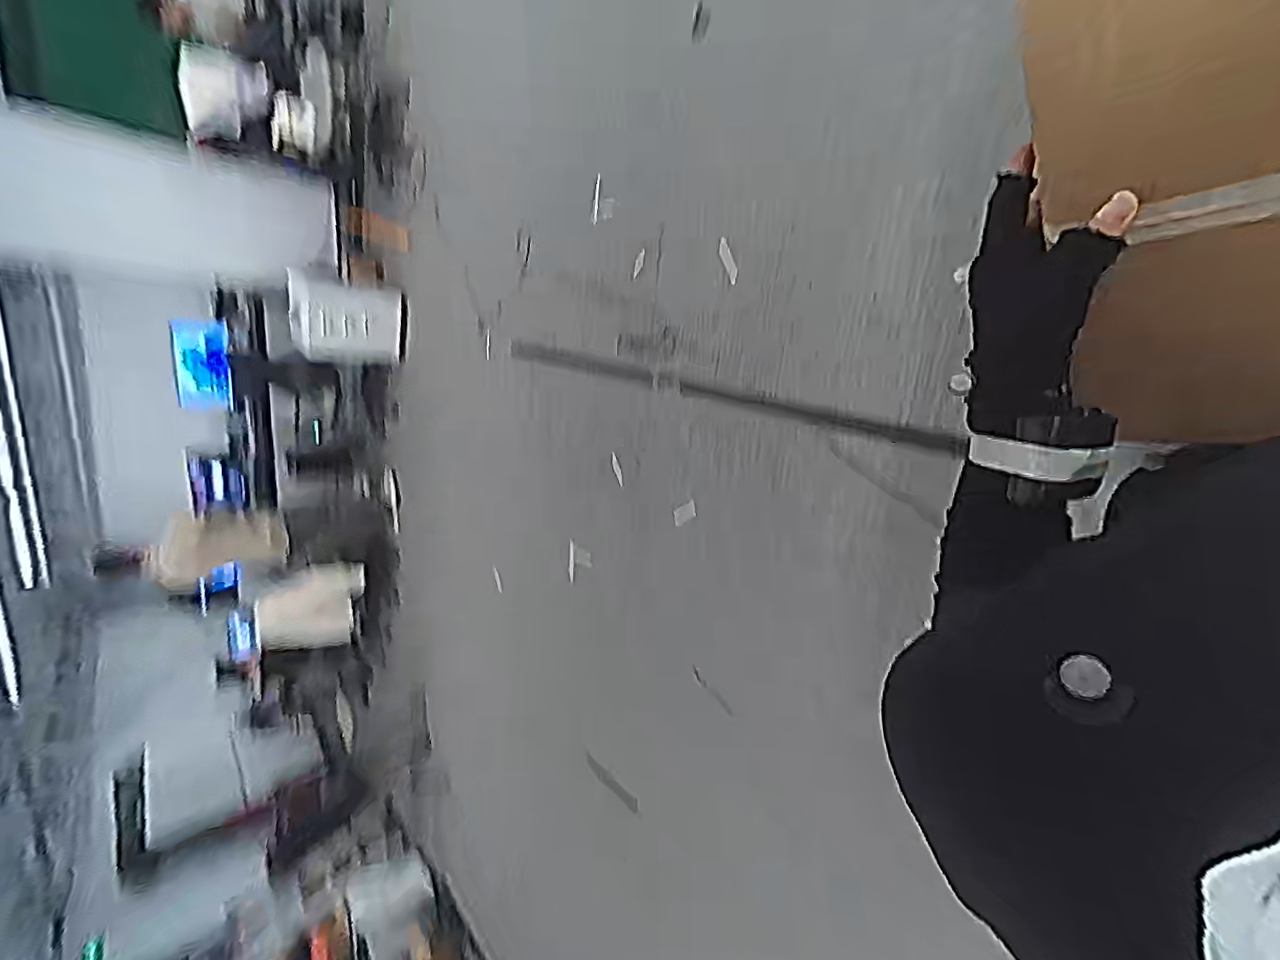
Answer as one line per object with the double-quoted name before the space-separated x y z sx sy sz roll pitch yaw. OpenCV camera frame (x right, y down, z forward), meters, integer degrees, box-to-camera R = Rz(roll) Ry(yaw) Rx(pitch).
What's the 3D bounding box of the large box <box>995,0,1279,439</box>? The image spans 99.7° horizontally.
"large box" 0.469 -0.236 0.260 0.408 0.320 0.320 4 136 51
